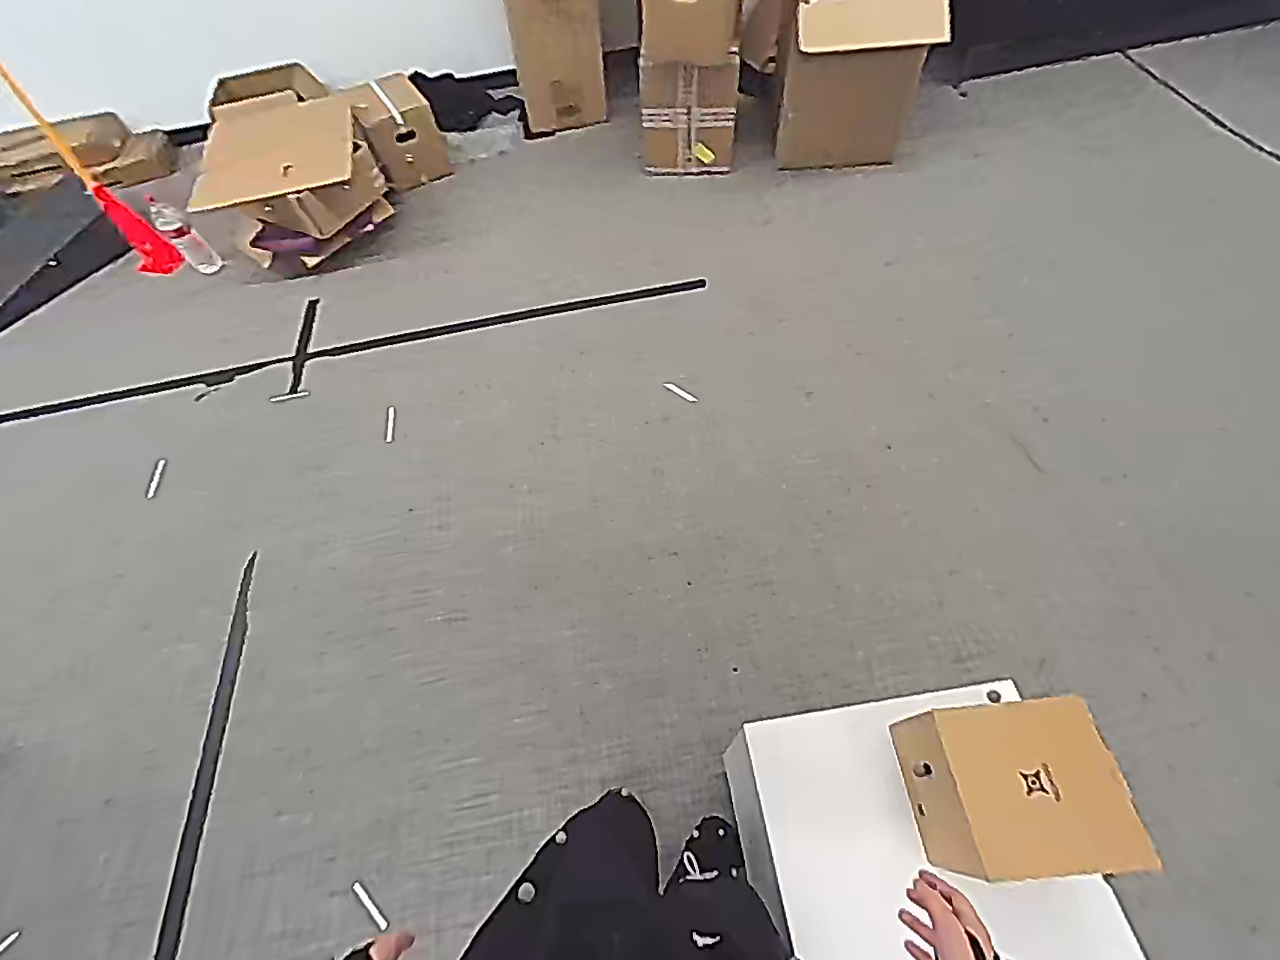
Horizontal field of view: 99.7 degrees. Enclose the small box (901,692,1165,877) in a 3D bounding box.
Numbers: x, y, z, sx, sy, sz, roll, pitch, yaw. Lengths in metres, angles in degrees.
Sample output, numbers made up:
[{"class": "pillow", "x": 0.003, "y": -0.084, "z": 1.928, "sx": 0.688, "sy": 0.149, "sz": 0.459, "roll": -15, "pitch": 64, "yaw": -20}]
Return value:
[{"class": "small box", "x": 0.436, "y": 0.362, "z": 0.646, "sx": 0.179, "sy": 0.176, "sz": 0.168, "roll": -6, "pitch": 59, "yaw": 2}]
